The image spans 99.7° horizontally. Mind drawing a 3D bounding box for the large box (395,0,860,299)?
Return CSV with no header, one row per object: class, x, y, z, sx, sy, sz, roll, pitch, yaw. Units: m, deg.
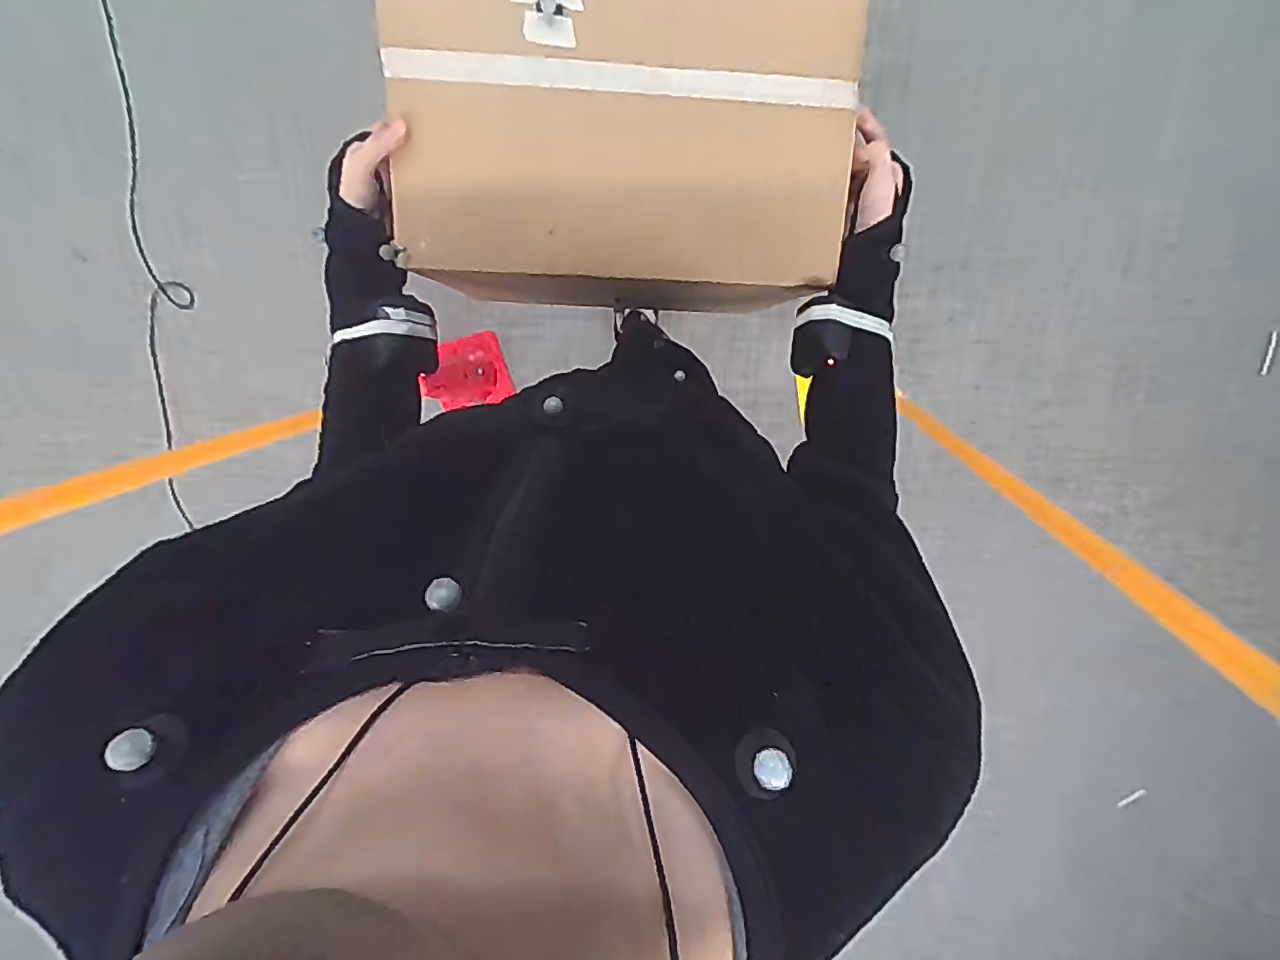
large box,-0.016,-0.383,0.617,0.408,0.320,0.320,1,102,-4
